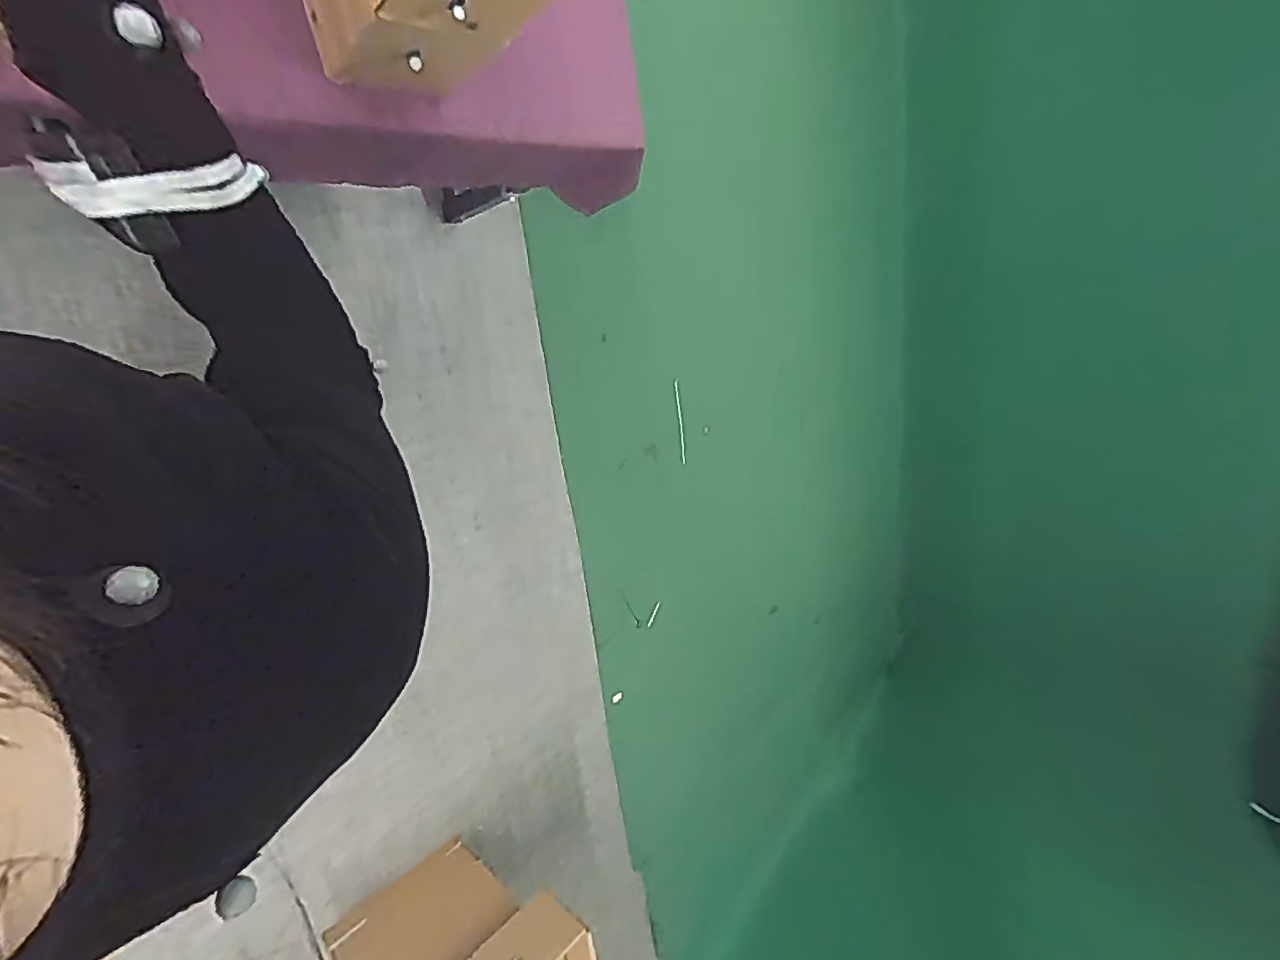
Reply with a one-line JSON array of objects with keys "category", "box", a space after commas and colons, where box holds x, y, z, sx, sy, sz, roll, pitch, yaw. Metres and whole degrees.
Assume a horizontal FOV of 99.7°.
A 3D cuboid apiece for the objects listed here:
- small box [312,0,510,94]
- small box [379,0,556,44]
[{"category": "small box", "box": [-0.292, -0.599, 0.657, 0.179, 0.176, 0.168, -27, 115, -39]}, {"category": "small box", "box": [-0.180, -0.588, 0.539, 0.168, 0.176, 0.179, -26, 114, -41]}]
